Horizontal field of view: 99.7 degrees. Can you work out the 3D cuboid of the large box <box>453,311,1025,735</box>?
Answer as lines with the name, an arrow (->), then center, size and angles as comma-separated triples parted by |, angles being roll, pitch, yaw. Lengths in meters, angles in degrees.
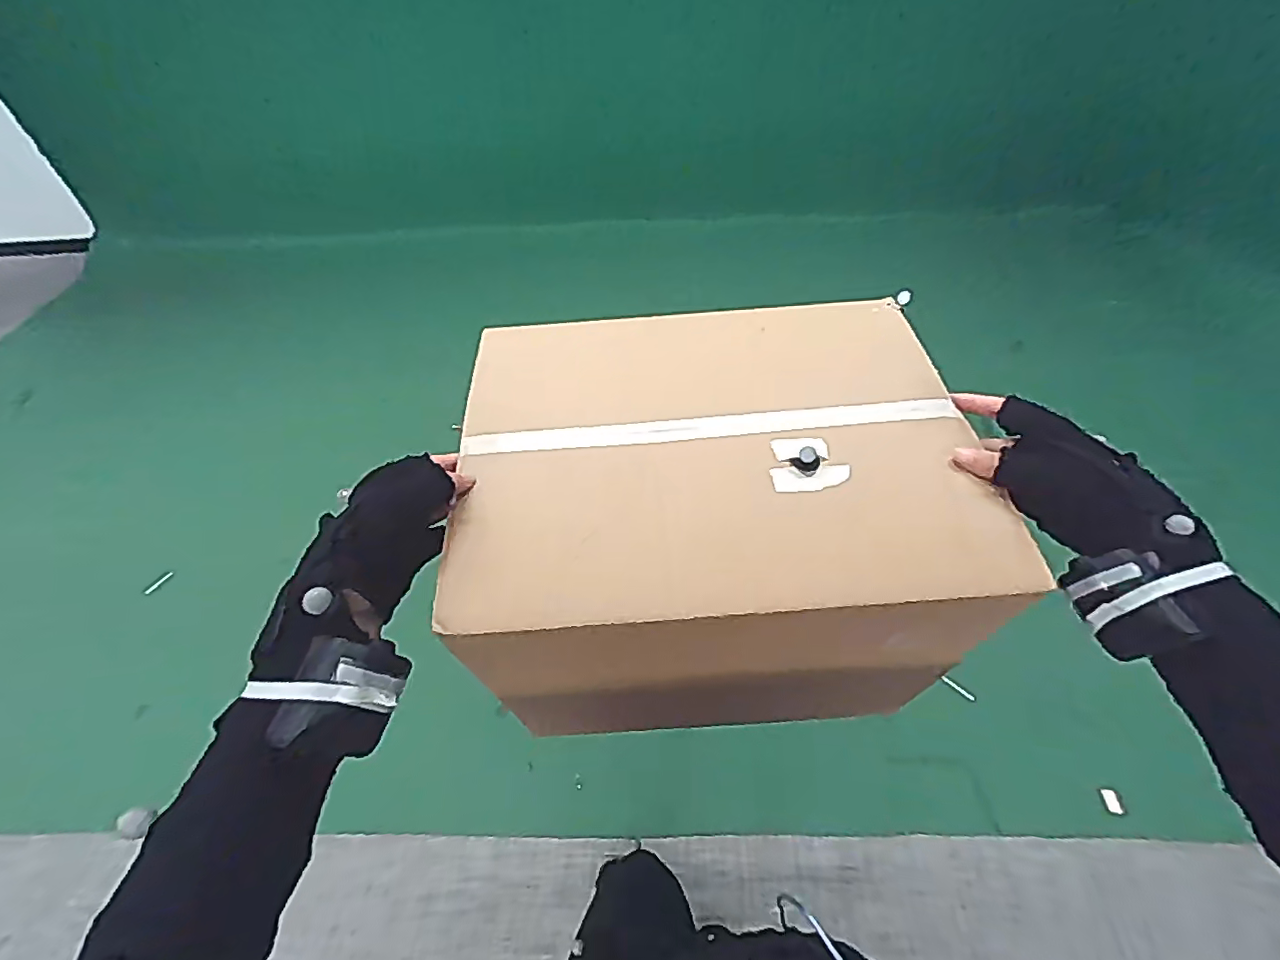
large box -> 0.064, 0.057, 0.574 | 0.408, 0.320, 0.320 | -5, 54, 0
